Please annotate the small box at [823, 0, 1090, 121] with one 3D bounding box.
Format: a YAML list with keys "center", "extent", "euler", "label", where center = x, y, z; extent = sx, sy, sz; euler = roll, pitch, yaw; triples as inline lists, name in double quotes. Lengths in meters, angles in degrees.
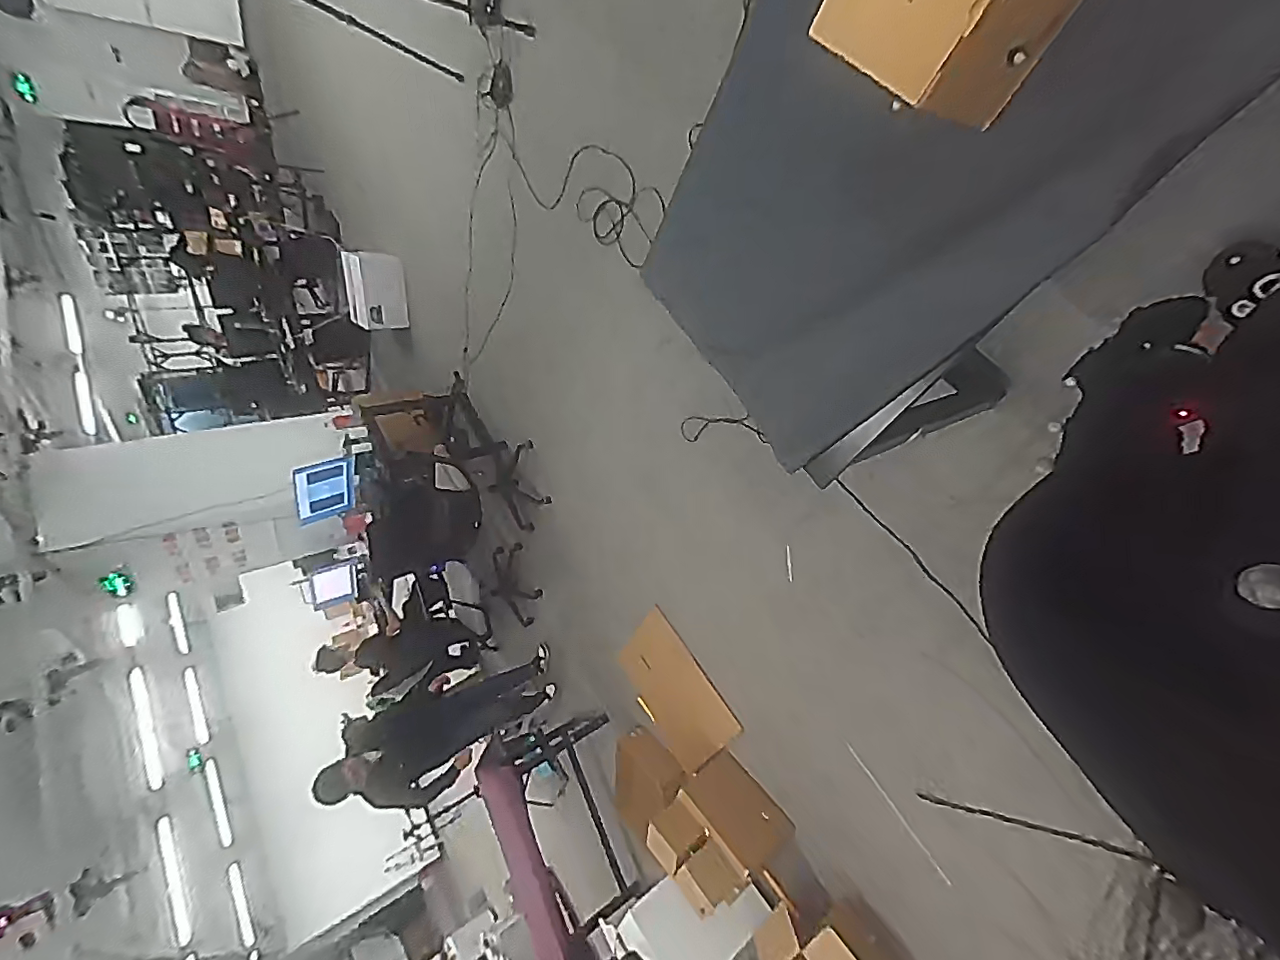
- center: [0.345, -0.521, 0.584]
  extent: [0.179, 0.176, 0.168]
  euler: [55, 140, 23]
  label: "small box"
